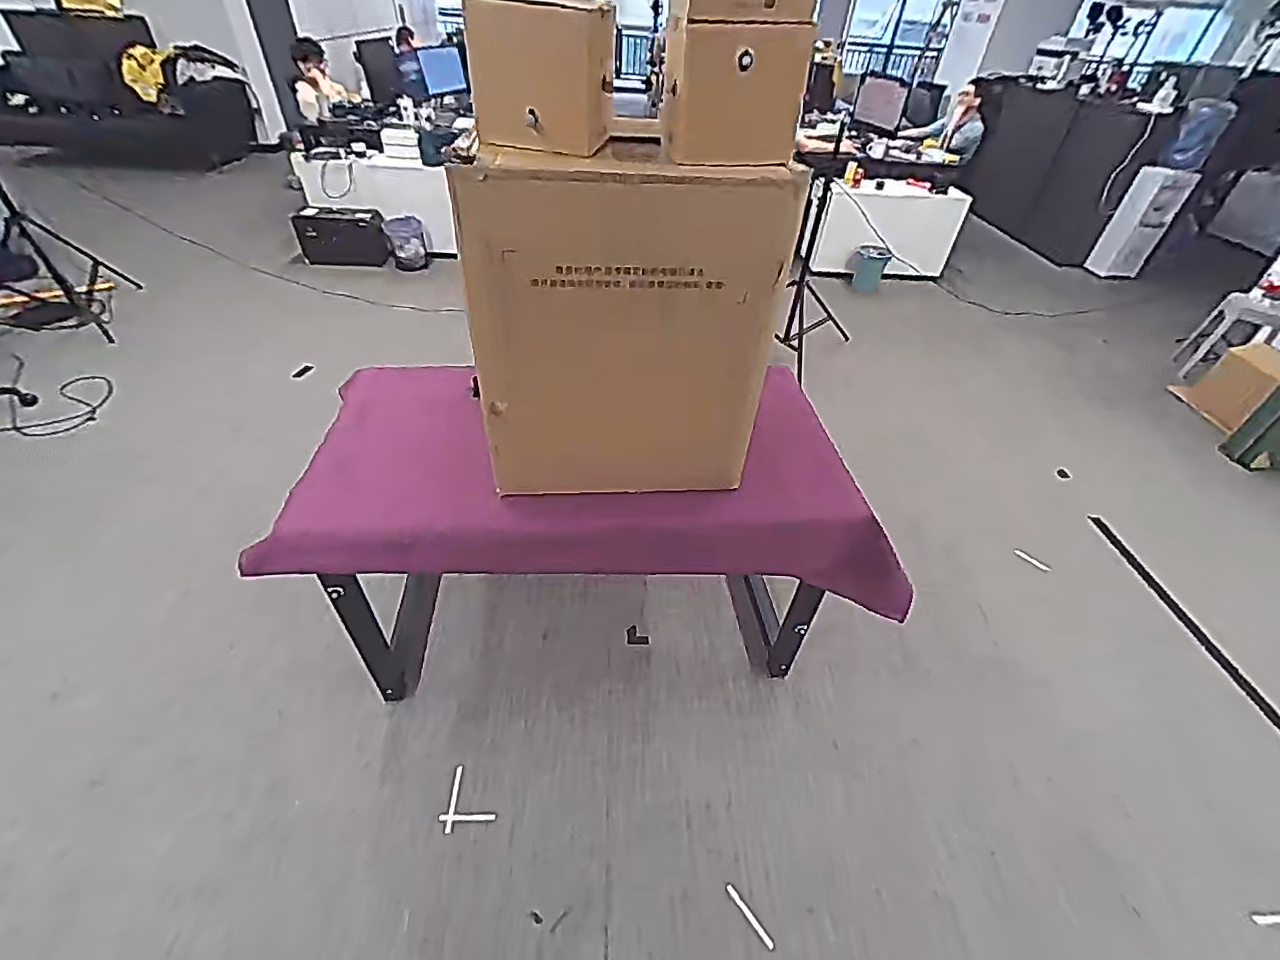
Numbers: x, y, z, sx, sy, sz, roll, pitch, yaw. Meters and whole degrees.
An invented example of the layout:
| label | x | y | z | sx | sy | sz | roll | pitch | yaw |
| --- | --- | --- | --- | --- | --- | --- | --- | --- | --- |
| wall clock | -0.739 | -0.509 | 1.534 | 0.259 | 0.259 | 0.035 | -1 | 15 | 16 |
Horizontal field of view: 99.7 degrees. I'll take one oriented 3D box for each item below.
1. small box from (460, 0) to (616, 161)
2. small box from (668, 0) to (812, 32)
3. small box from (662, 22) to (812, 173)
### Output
| label | x | y | z | sx | sy | sz | roll | pitch | yaw |
| --- | --- | --- | --- | --- | --- | --- | --- | --- | --- |
| small box | -0.140 | -0.590 | 0.803 | 0.179 | 0.176 | 0.168 | 10 | 43 | 4 |
| small box | 0.131 | -0.694 | 0.699 | 0.168 | 0.176 | 0.179 | -4 | 43 | -5 |
| small box | 0.129 | -0.569 | 0.807 | 0.179 | 0.176 | 0.168 | -3 | 43 | -7 |
